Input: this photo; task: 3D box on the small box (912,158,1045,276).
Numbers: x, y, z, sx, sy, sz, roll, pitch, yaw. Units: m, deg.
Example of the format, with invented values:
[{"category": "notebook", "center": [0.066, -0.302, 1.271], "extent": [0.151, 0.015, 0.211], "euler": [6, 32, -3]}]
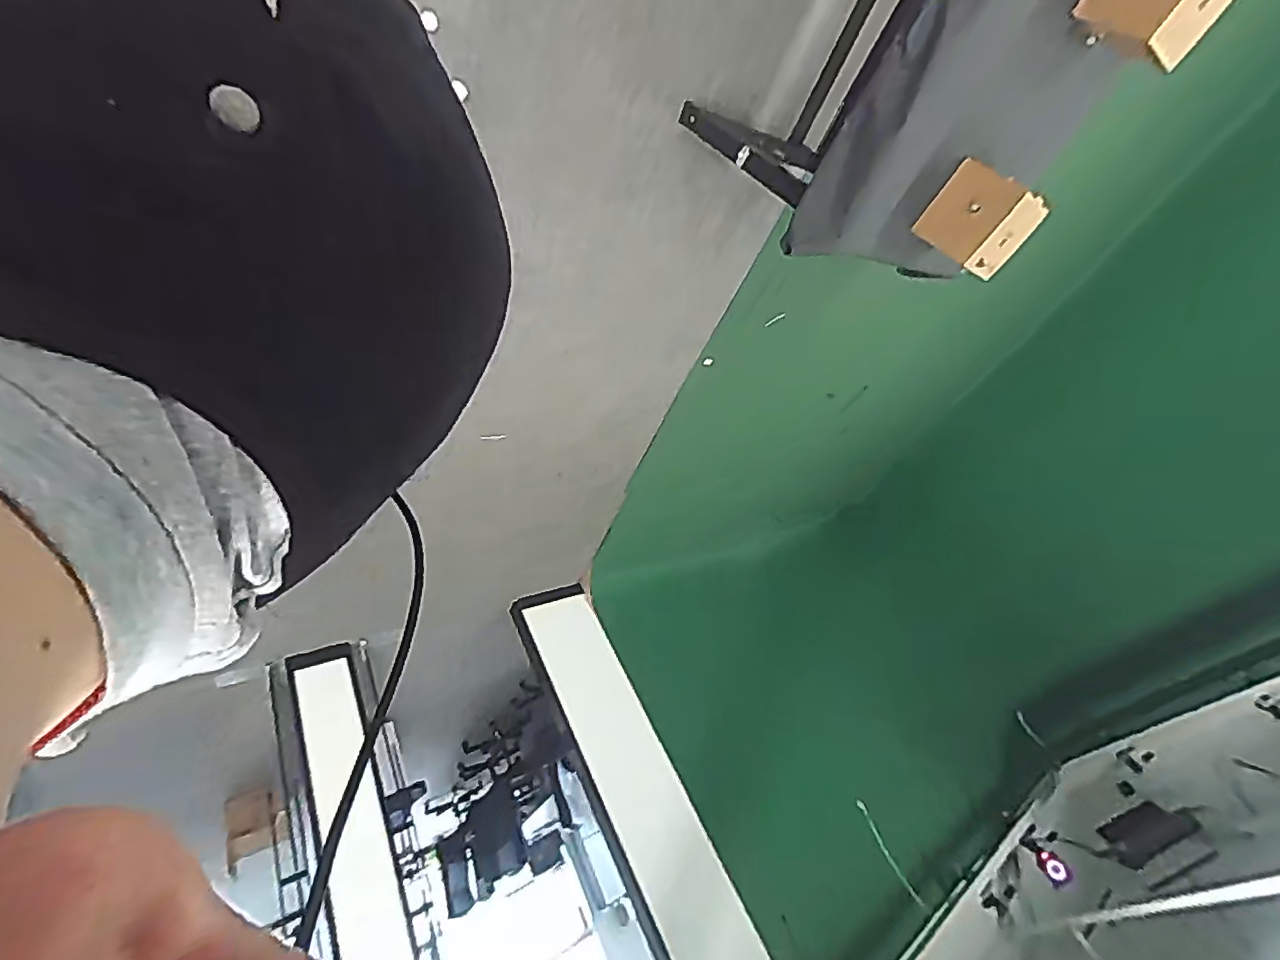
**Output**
[{"category": "small box", "center": [0.780, -0.610, 1.256], "extent": [0.168, 0.176, 0.179], "euler": [-3, 138, -40]}]

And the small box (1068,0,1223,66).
[{"category": "small box", "center": [0.948, -0.911, 0.987], "extent": [0.168, 0.176, 0.179], "euler": [-8, 143, -35]}]
